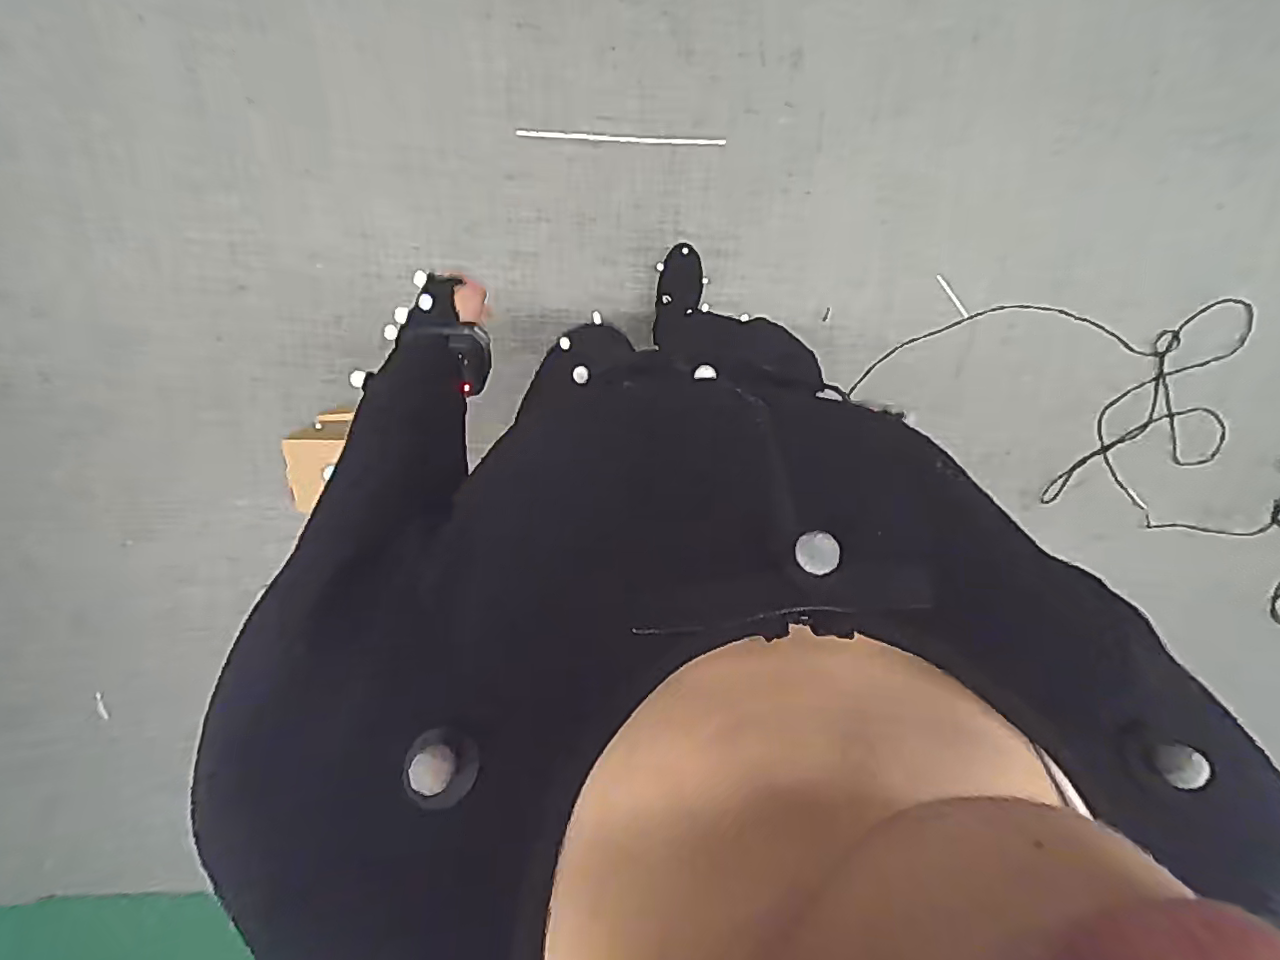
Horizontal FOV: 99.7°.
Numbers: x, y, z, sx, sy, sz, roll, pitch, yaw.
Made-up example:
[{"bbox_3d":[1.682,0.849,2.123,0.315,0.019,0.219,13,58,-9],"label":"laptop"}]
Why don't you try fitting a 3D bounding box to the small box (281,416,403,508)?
[{"bbox_3d":[-0.660,-0.044,1.217,0.179,0.176,0.168,0,110,-3],"label":"small box"}]
